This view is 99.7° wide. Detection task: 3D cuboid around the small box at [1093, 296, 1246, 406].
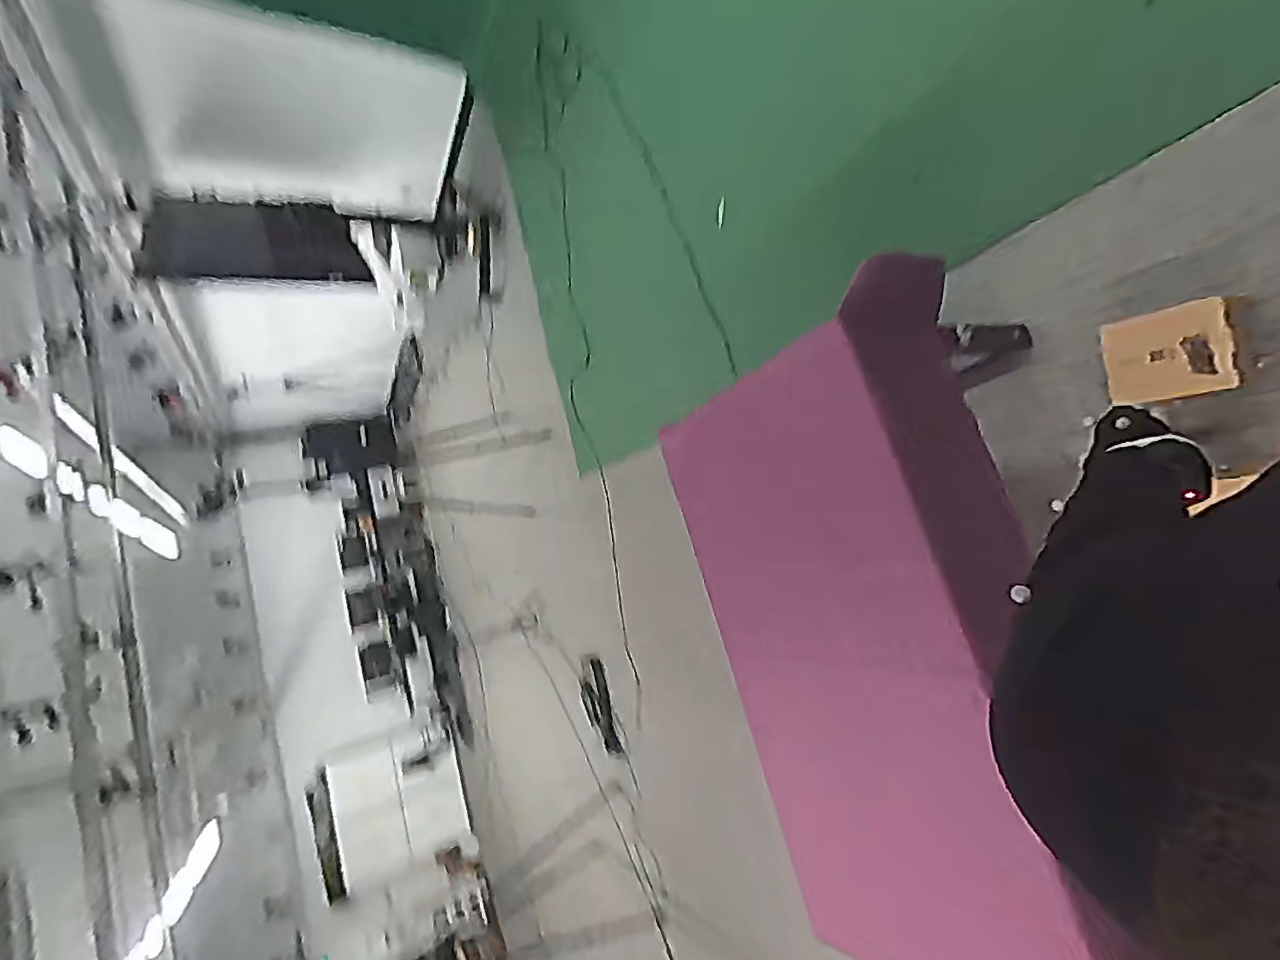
[{"bbox_3d":[1.038,-0.249,1.058,0.179,0.176,0.168,-11,89,58],"label":"small box"}]
